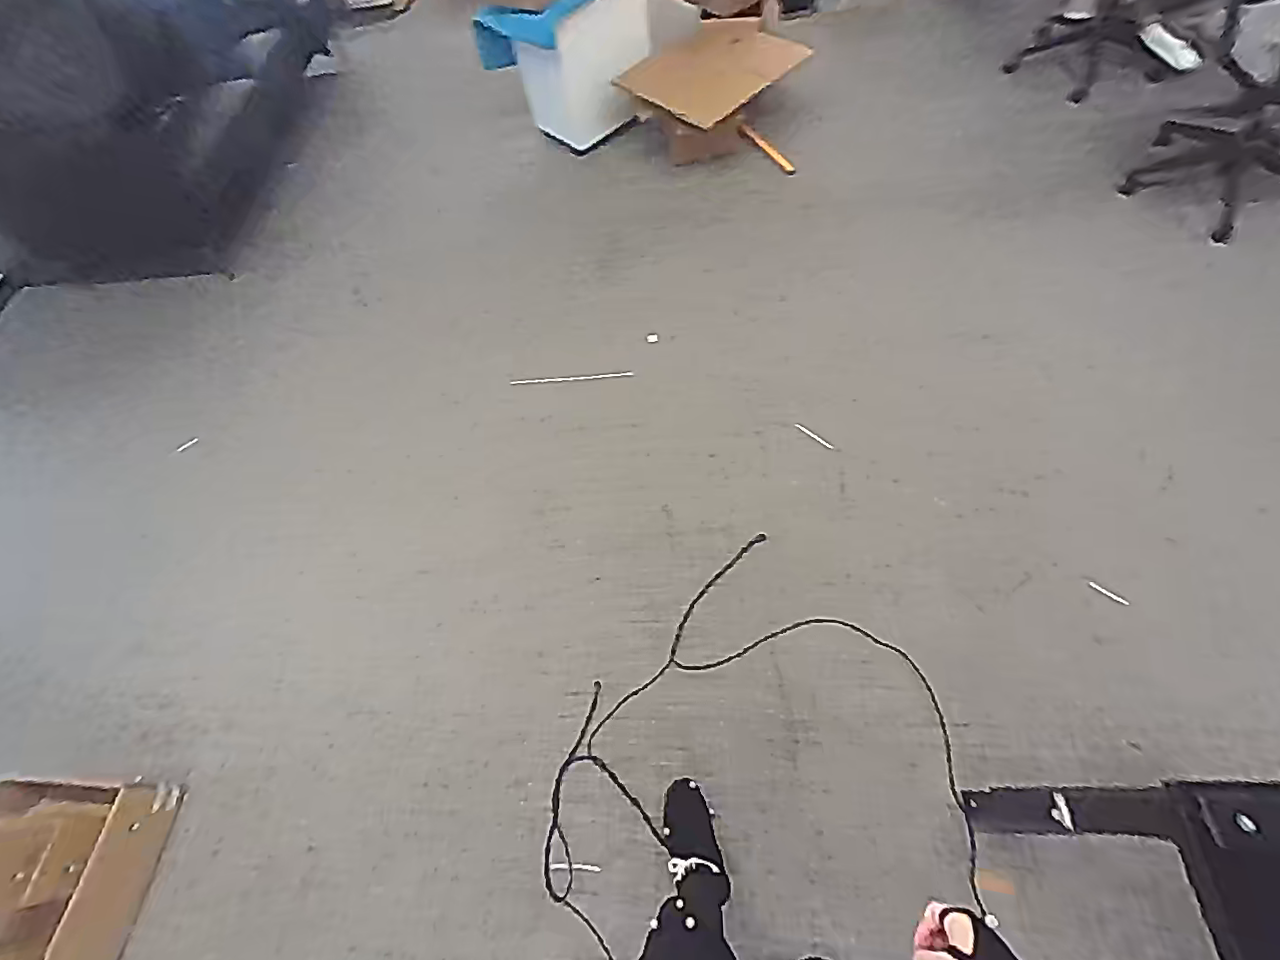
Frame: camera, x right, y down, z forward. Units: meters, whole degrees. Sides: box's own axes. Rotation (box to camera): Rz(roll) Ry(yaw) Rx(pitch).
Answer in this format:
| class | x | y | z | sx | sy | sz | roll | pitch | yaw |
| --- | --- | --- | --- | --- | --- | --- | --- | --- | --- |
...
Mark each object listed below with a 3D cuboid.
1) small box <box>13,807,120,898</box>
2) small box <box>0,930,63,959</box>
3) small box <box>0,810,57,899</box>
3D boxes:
| class | x | y | z | sx | sy | sz | roll | pitch | yaw |
| --- | --- | --- | --- | --- | --- | --- | --- | --- | --- |
| small box | -1.490 | 0.929 | 1.362 | 0.179 | 0.176 | 0.168 | -1 | 61 | 7 |
| small box | -1.507 | 1.156 | 1.234 | 0.179 | 0.176 | 0.168 | -1 | 60 | 7 |
| small box | -1.513 | 0.852 | 1.219 | 0.179 | 0.176 | 0.168 | 2 | 63 | 8 |
